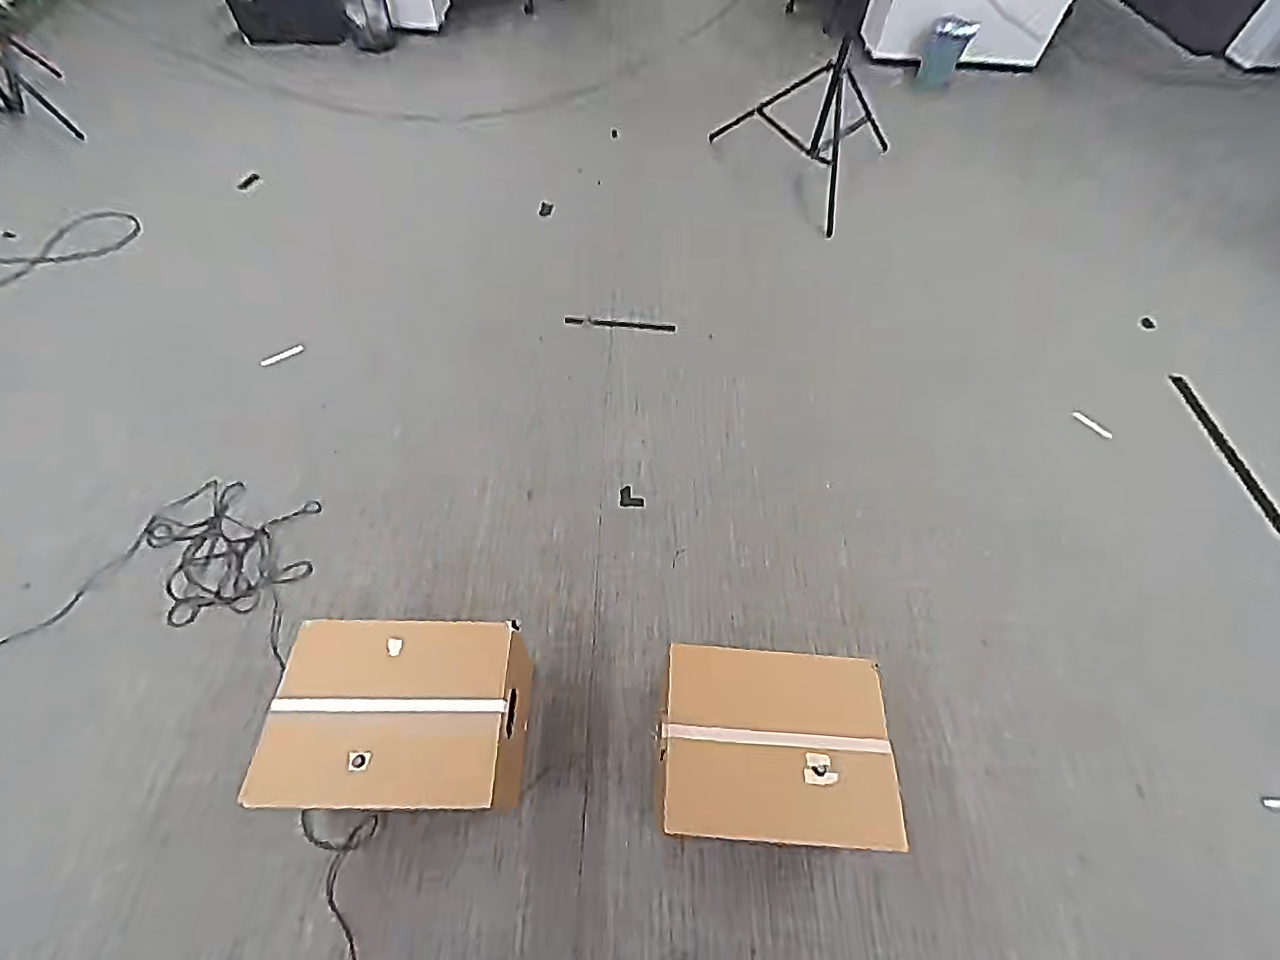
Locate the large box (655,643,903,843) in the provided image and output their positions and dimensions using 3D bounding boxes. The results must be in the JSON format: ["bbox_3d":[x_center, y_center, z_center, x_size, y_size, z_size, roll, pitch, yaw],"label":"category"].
[{"bbox_3d":[0.243,0.545,1.103,0.408,0.320,0.320,5,57,-1],"label":"large box"}]
